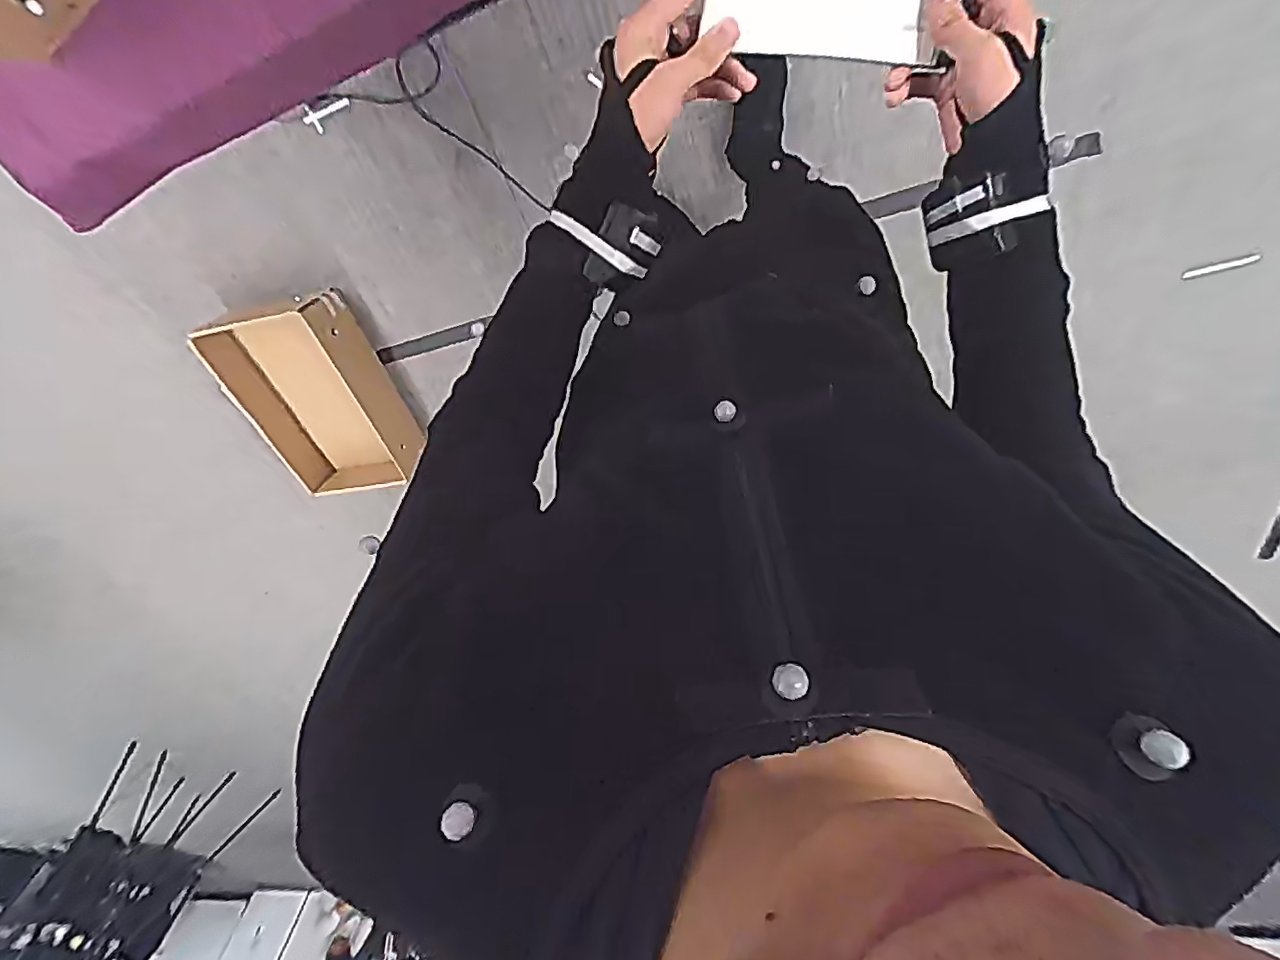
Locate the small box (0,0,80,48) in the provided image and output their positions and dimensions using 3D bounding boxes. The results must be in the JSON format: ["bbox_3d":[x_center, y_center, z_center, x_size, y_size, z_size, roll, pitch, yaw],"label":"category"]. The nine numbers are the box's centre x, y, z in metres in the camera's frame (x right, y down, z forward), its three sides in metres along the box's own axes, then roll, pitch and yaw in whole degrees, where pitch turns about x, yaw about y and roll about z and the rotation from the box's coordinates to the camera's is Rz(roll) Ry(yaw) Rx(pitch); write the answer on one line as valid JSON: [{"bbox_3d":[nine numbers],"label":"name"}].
[{"bbox_3d":[-0.691,-0.548,0.516,0.168,0.176,0.179,-19,125,20],"label":"small box"}]
